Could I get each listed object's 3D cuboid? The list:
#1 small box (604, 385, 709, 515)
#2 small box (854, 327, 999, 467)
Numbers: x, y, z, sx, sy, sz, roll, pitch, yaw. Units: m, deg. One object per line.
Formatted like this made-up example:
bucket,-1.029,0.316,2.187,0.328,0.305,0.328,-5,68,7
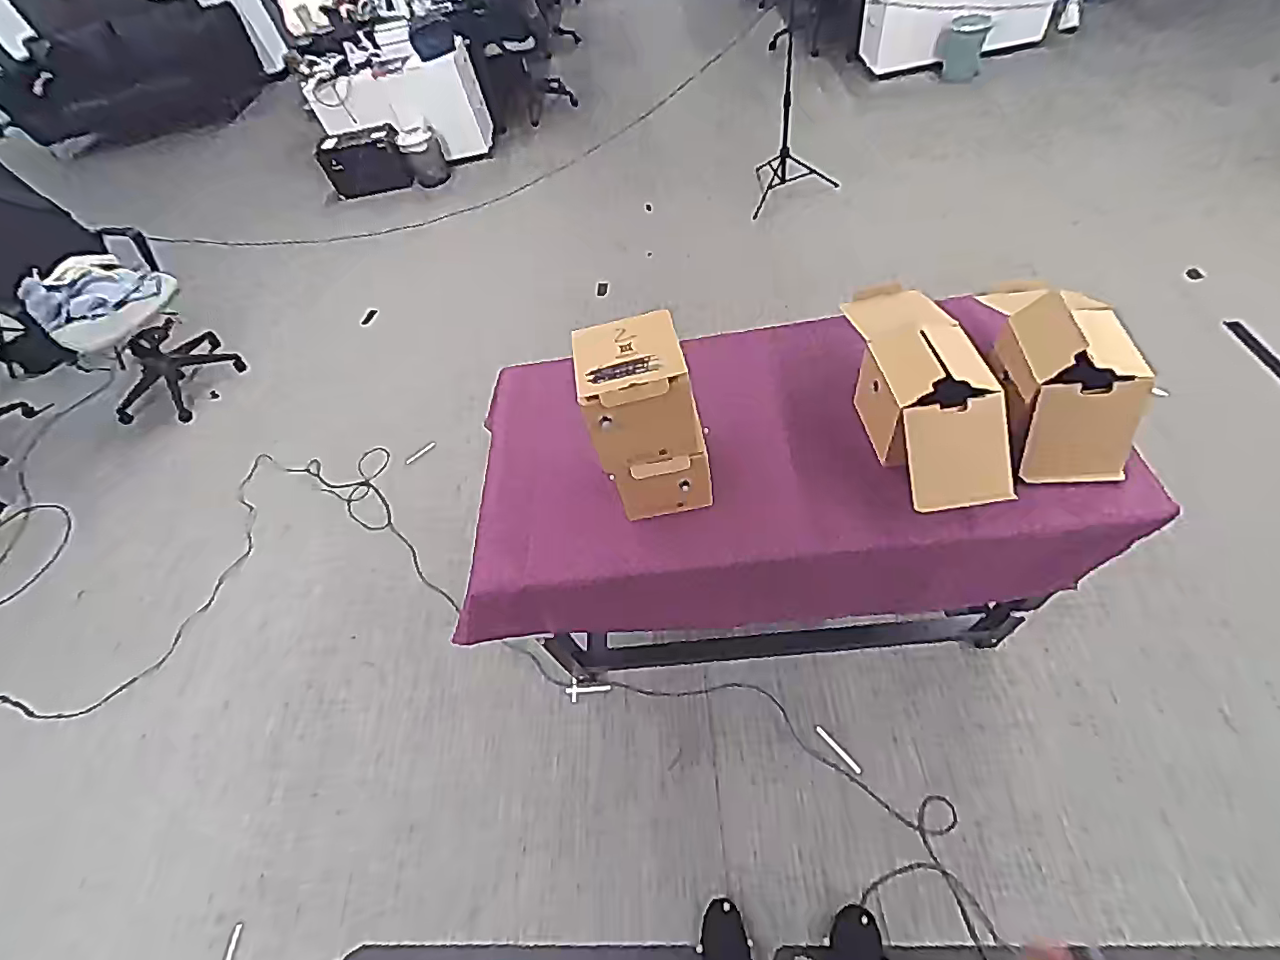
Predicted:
small box,0.034,-0.048,1.026,0.168,0.176,0.179,-10,53,4
small box,0.510,-0.150,0.997,0.168,0.176,0.179,-10,54,6
